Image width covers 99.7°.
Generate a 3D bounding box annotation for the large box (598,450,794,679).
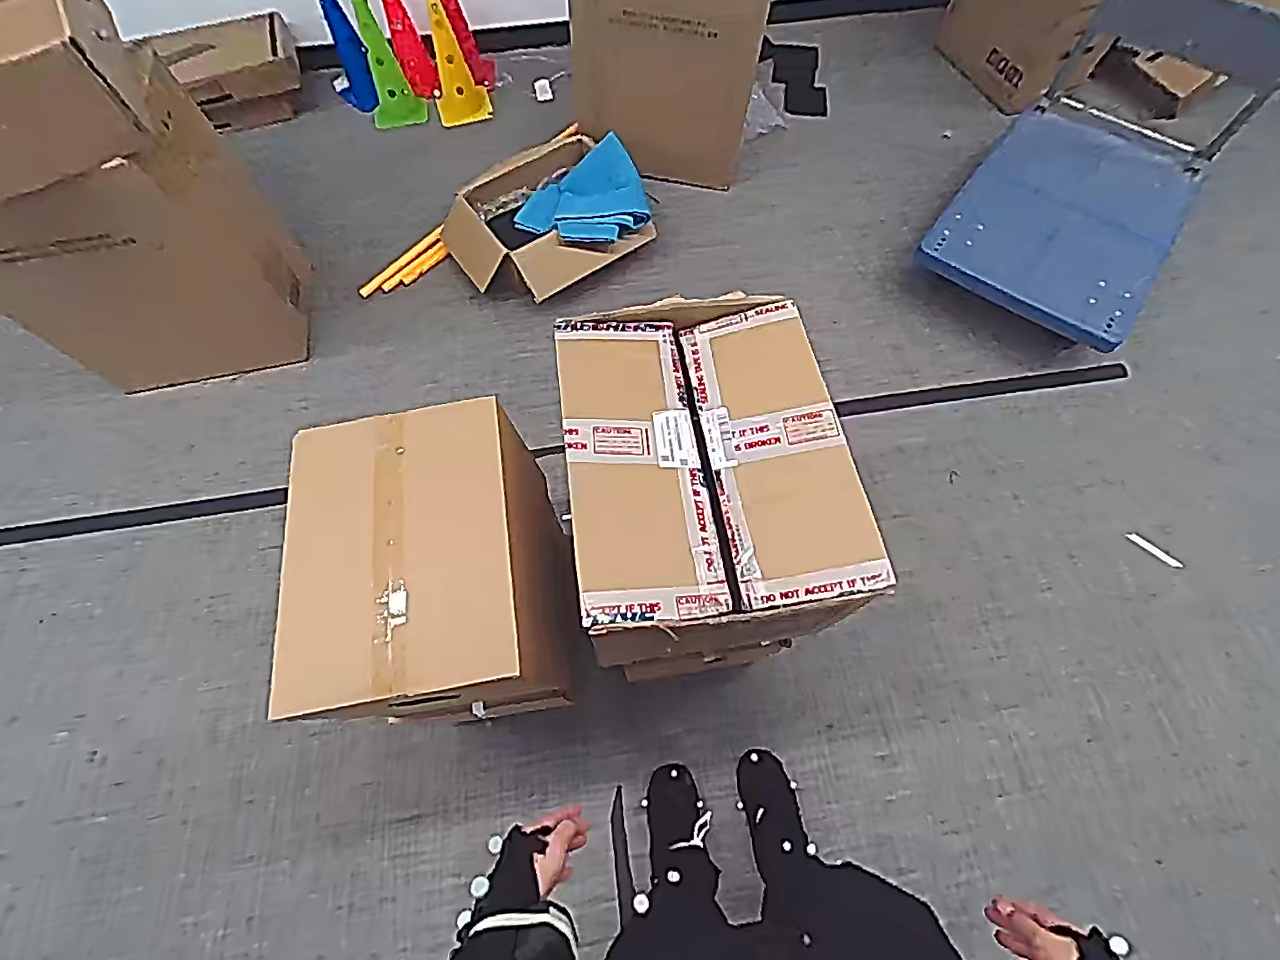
[{"bbox_3d":[0.096,0.196,1.193,0.320,0.320,0.408,-9,67,-4],"label":"large box"}]
